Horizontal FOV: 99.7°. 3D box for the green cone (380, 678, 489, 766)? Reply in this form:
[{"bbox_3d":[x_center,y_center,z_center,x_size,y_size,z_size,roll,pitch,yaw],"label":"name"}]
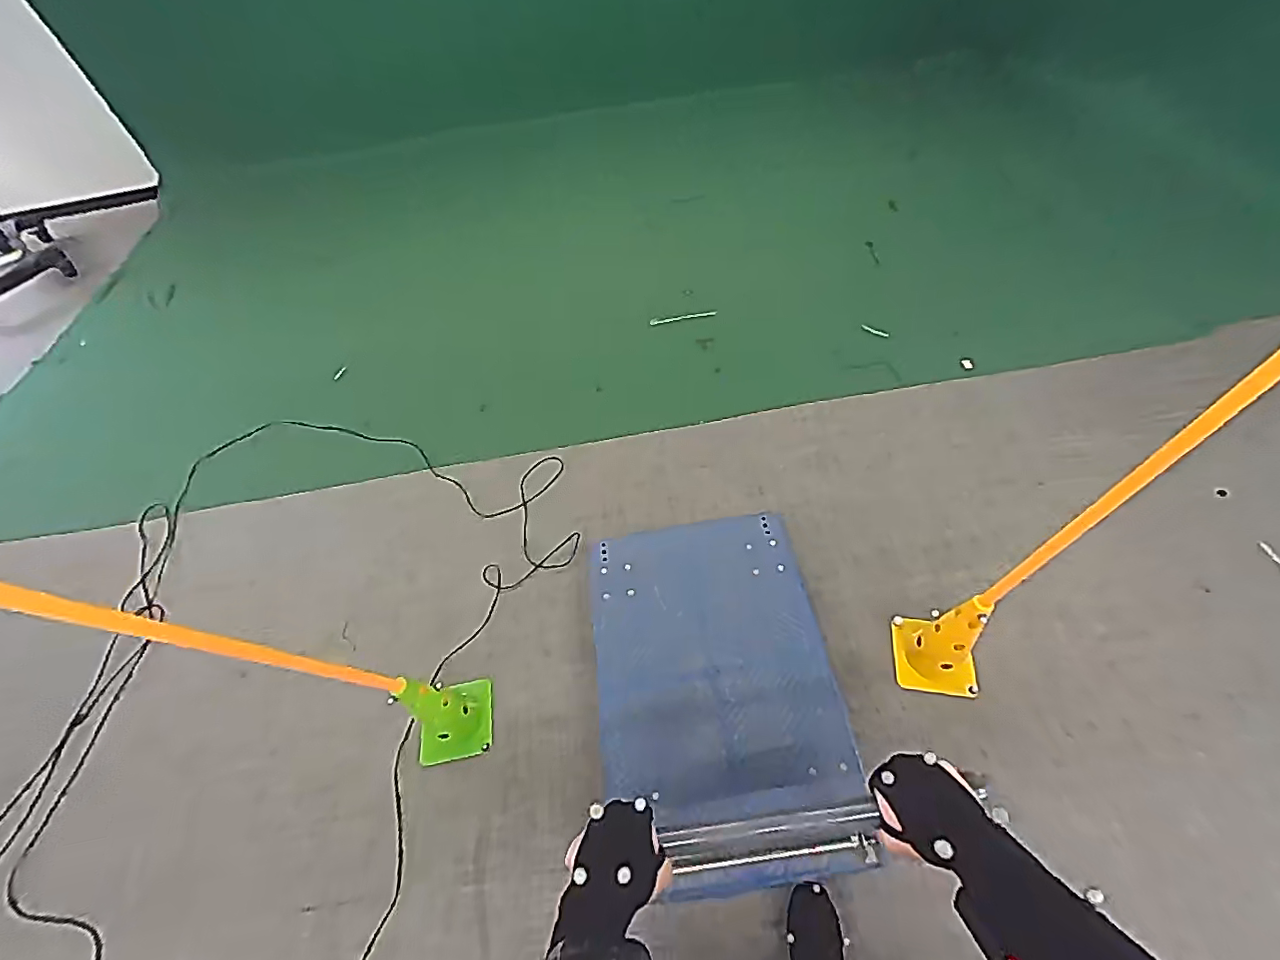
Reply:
[{"bbox_3d":[-0.541,0.568,1.366,0.202,0.368,0.200,-13,53,0],"label":"green cone"}]
